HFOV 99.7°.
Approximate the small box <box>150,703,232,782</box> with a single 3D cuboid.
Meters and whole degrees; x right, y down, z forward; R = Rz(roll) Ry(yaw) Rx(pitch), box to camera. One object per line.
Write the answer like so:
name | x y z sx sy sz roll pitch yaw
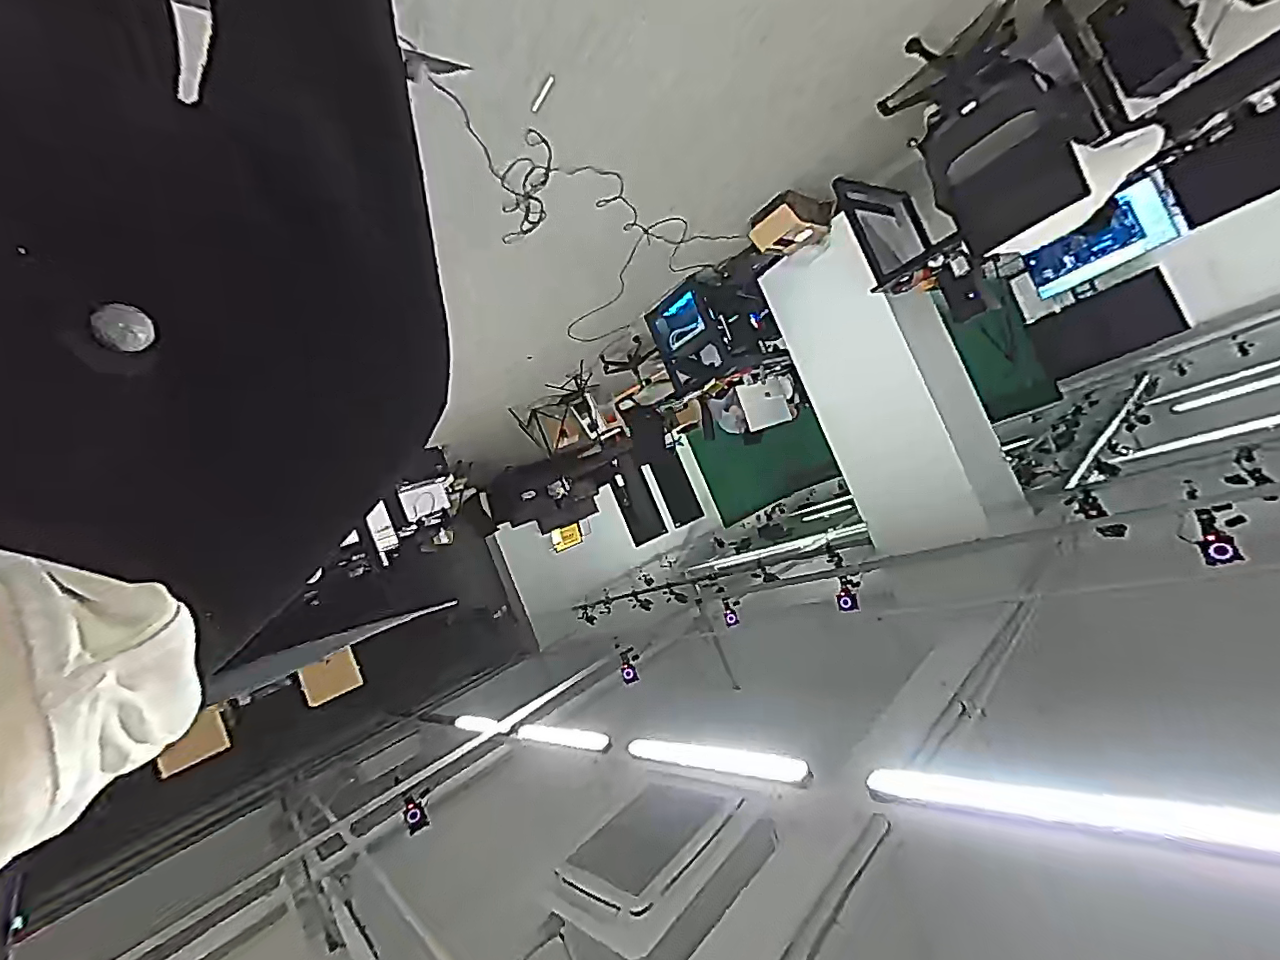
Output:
small box | -1.481 0.859 1.779 0.179 0.176 0.168 -20 176 -43
